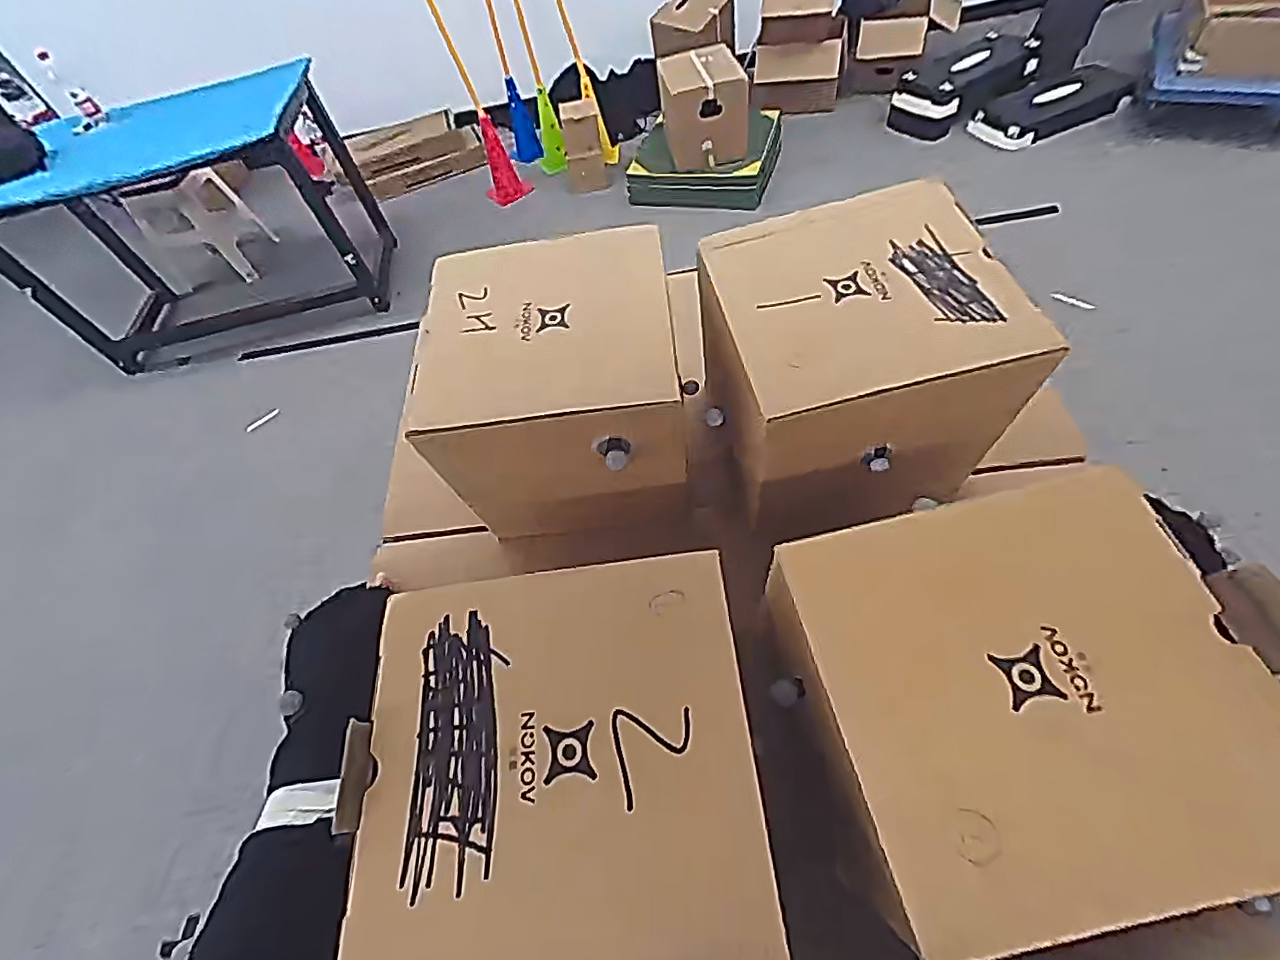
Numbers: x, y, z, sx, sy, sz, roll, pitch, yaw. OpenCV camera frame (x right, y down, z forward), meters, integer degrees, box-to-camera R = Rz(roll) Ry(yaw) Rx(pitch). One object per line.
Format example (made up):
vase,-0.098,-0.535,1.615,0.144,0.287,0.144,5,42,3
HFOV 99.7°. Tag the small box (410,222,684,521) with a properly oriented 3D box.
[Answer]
small box,-0.057,-0.078,0.450,0.179,0.176,0.168,-6,60,6
